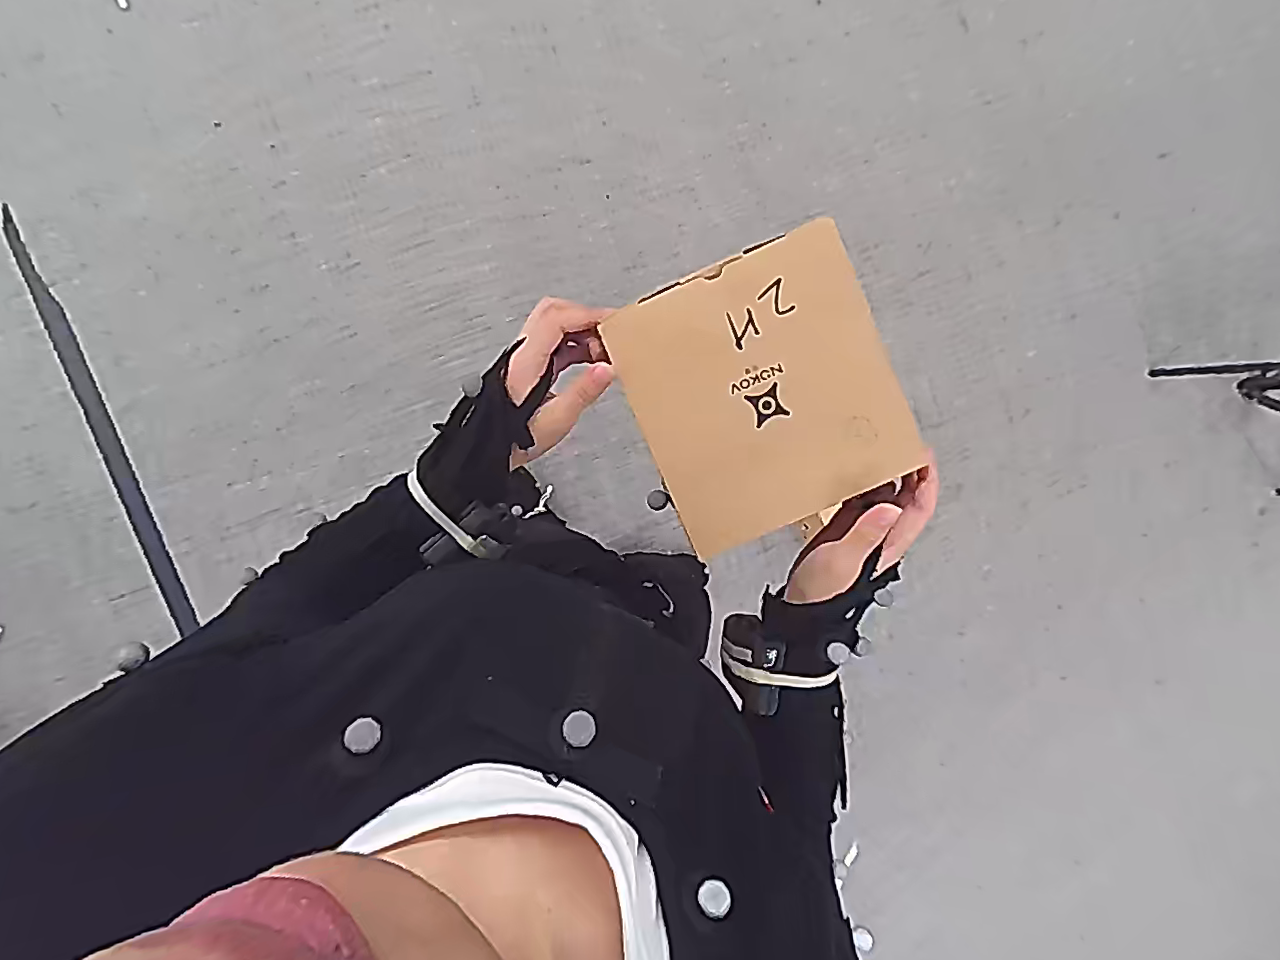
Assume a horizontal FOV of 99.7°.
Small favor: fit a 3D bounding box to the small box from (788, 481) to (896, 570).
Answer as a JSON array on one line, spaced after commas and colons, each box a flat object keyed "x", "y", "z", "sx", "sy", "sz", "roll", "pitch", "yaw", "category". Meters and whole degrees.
[{"x": 0.516, "y": 0.110, "z": 1.398, "sx": 0.179, "sy": 0.176, "sz": 0.168, "roll": -23, "pitch": 95, "yaw": -6, "category": "small box"}]
